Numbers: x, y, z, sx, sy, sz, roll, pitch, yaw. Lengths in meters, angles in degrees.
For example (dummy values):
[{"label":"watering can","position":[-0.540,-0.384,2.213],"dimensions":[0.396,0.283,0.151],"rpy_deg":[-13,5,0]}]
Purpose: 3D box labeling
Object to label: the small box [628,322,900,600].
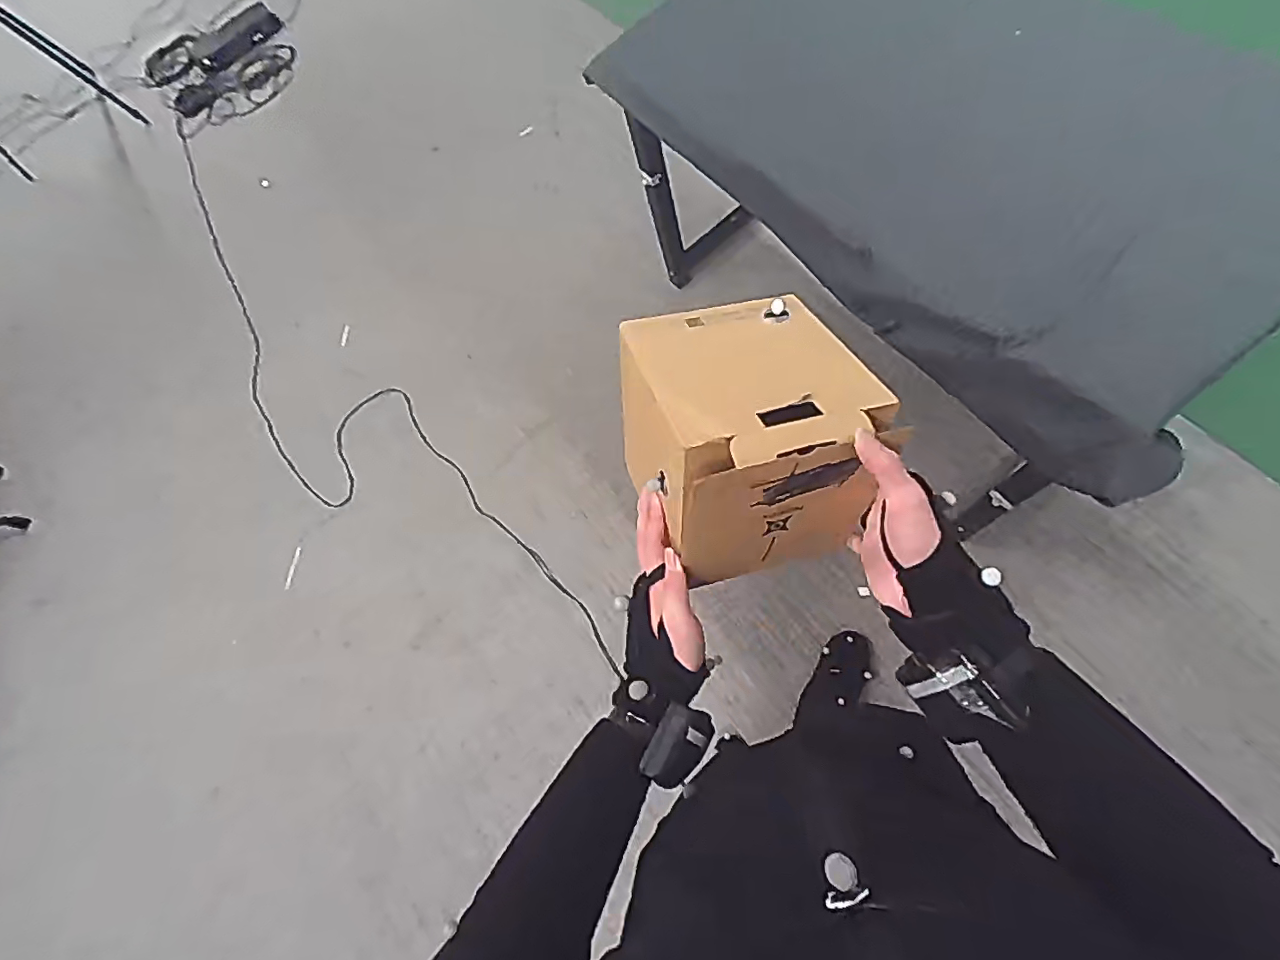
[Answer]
[{"label":"small box","position":[0.089,-0.025,0.488],"dimensions":[0.168,0.179,0.176],"rpy_deg":[-13,48,-11]}]
